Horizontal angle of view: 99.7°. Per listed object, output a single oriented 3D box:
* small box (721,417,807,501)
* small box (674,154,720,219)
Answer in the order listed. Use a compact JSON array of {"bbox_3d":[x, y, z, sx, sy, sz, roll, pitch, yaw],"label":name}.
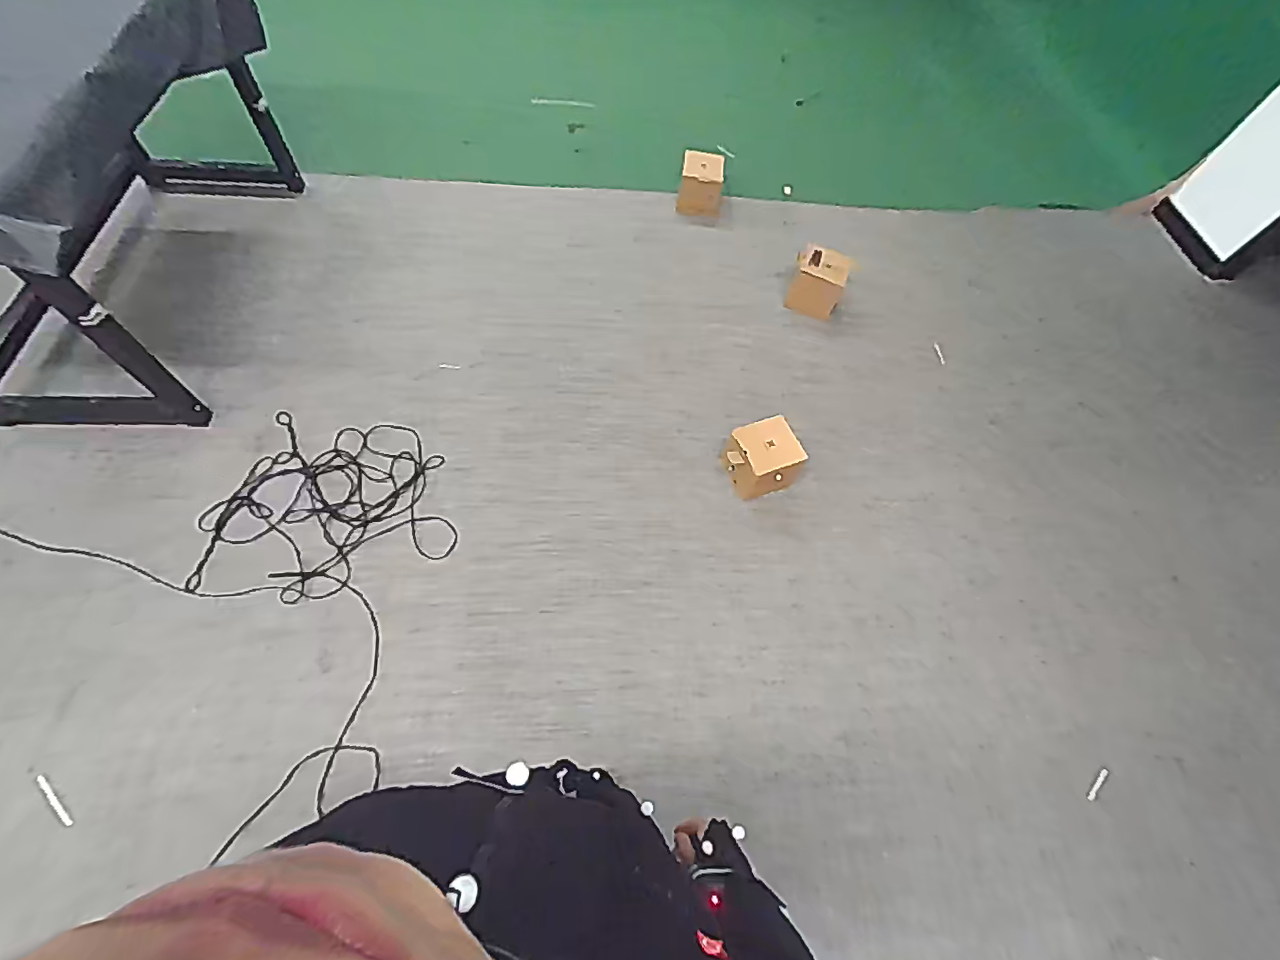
[{"bbox_3d":[0.367,-0.059,1.642,0.179,0.176,0.168,-19,65,-14],"label":"small box"},{"bbox_3d":[0.237,-1.231,2.275,0.168,0.176,0.179,7,60,-3],"label":"small box"}]
